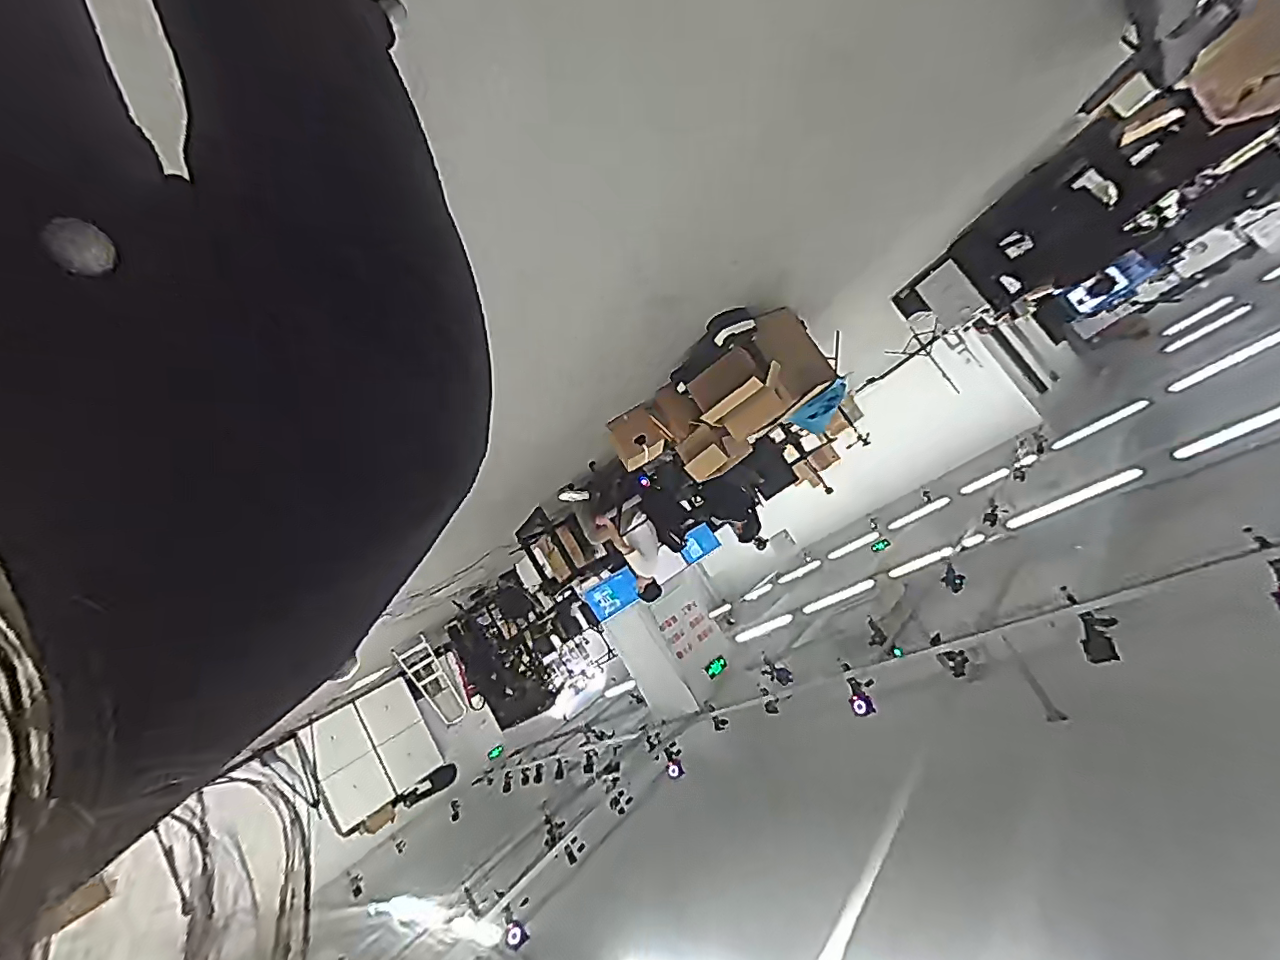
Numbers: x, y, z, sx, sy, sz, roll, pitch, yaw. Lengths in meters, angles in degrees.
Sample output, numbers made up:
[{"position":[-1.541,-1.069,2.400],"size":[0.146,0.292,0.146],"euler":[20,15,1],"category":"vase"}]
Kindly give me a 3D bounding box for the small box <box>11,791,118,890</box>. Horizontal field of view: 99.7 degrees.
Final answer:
[{"position":[-1.672,1.046,1.572],"size":[0.179,0.176,0.168],"euler":[-22,166,-45],"category":"small box"}]

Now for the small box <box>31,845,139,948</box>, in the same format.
[{"position":[-1.584,1.181,1.550],"size":[0.168,0.176,0.179],"euler":[-26,168,-44],"category":"small box"}]
